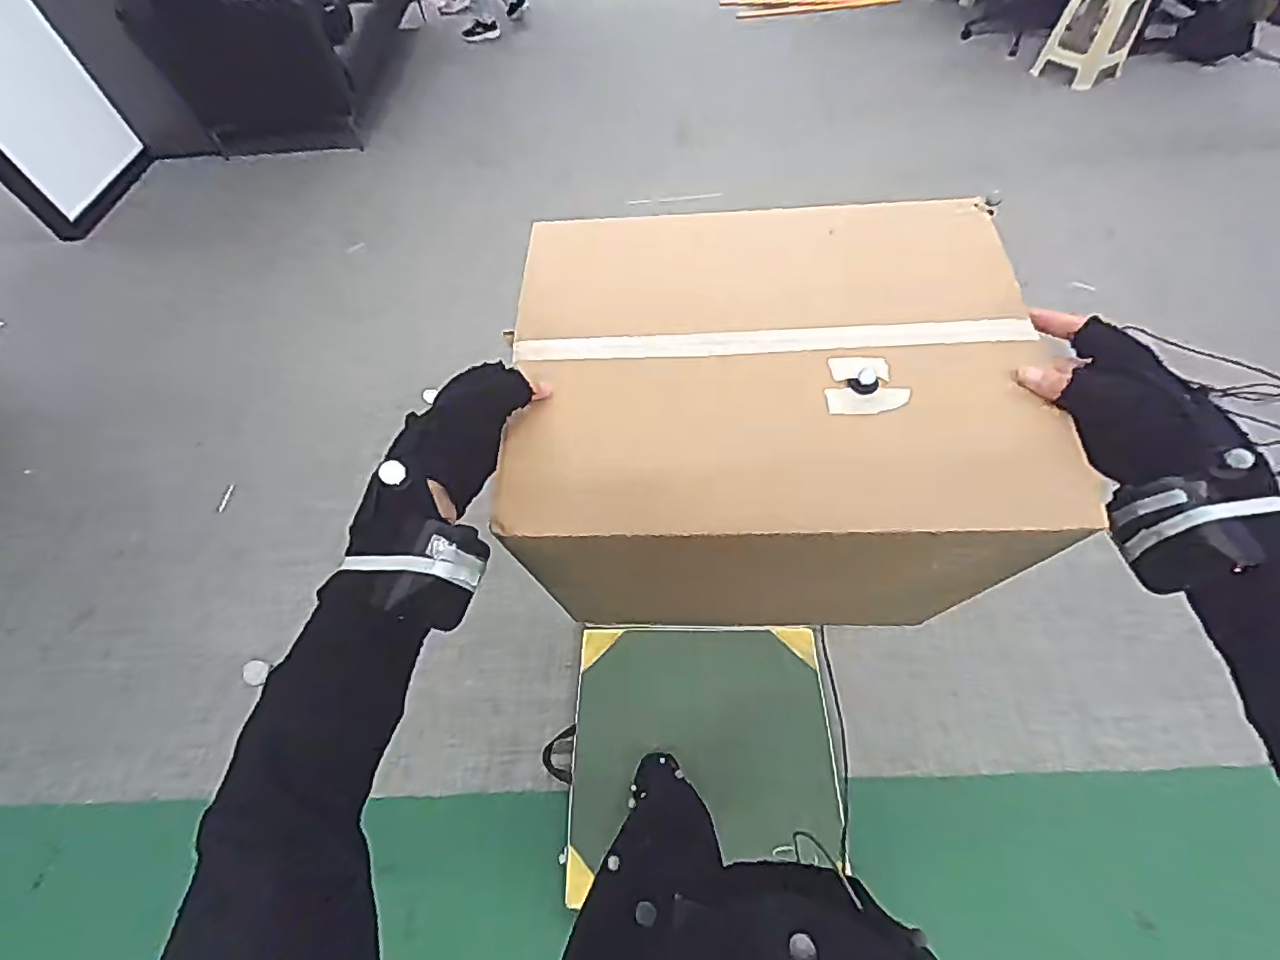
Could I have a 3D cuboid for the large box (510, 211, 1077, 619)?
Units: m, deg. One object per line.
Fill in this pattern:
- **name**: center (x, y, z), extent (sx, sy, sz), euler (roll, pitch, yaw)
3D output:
- **large box**: center (0.109, -0.041, 0.576), extent (0.408, 0.320, 0.320), euler (-1, 65, 3)
